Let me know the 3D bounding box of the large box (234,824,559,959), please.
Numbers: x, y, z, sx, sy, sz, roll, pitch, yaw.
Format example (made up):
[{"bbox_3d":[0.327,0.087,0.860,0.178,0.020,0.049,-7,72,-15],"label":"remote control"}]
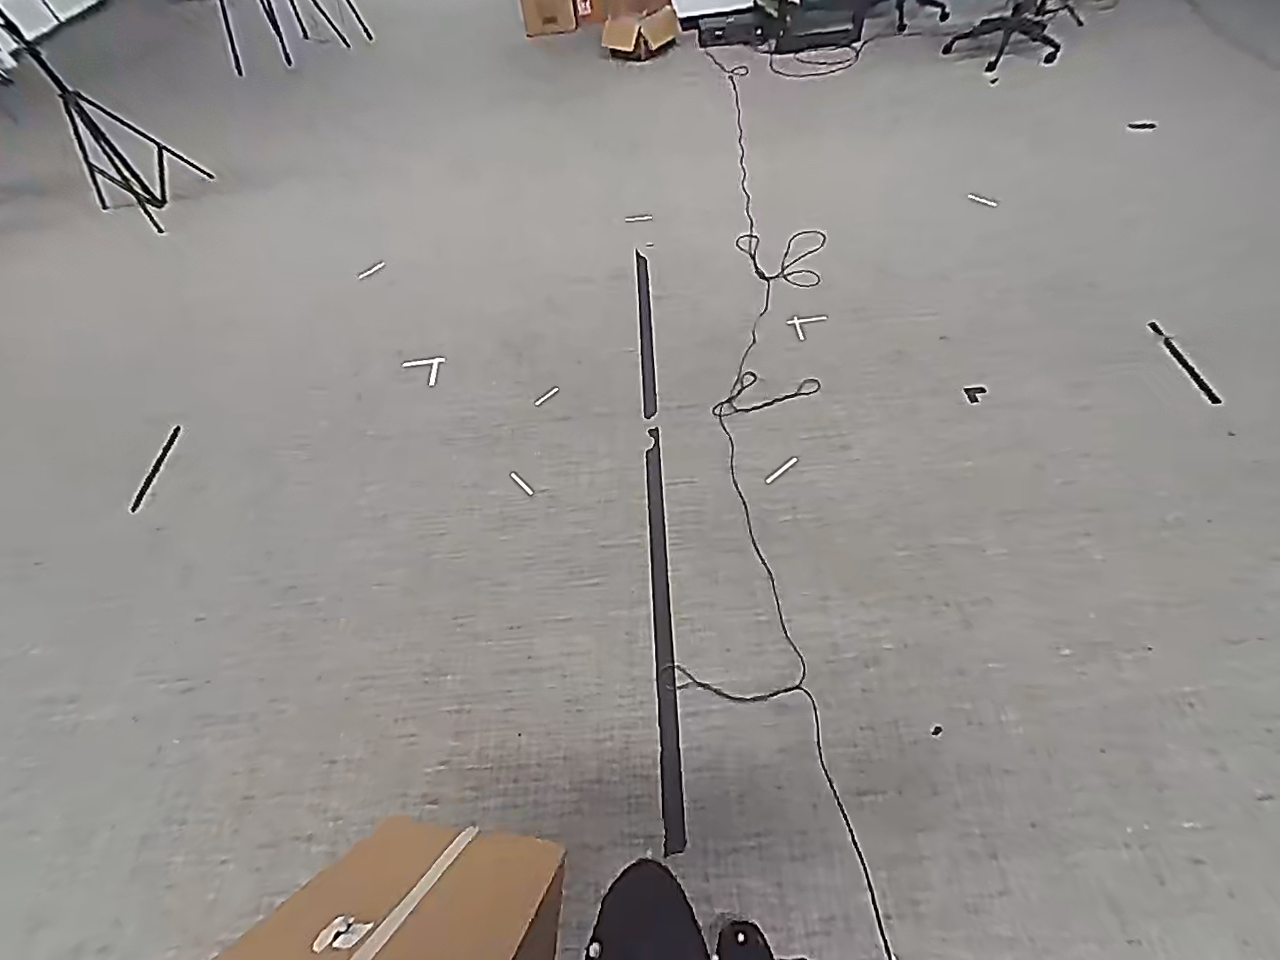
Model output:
[{"bbox_3d":[-0.316,0.720,0.684,0.320,0.408,0.320,3,84,8],"label":"large box"}]
